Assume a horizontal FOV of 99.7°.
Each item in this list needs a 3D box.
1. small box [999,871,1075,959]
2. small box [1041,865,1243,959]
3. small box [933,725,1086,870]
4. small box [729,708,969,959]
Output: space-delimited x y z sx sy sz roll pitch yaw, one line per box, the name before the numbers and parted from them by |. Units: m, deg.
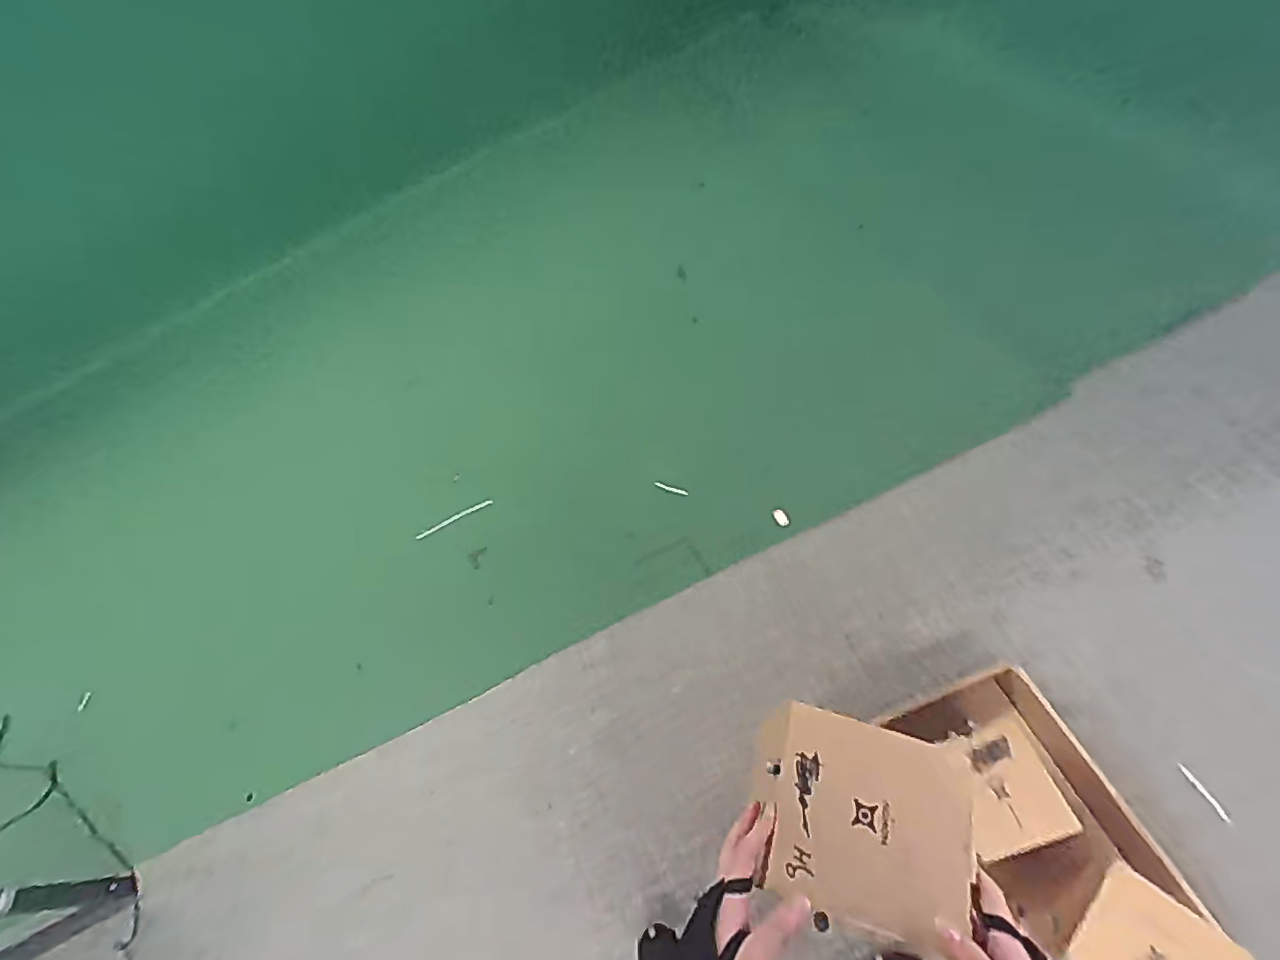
small box | 0.769 0.827 0.946 0.179 0.176 0.168 -39 55 -7
small box | 0.747 0.726 0.815 0.168 0.176 0.179 34 75 32
small box | 0.619 0.559 0.960 0.168 0.176 0.179 -22 58 5
small box | 0.203 0.355 0.554 0.179 0.176 0.168 15 58 8
